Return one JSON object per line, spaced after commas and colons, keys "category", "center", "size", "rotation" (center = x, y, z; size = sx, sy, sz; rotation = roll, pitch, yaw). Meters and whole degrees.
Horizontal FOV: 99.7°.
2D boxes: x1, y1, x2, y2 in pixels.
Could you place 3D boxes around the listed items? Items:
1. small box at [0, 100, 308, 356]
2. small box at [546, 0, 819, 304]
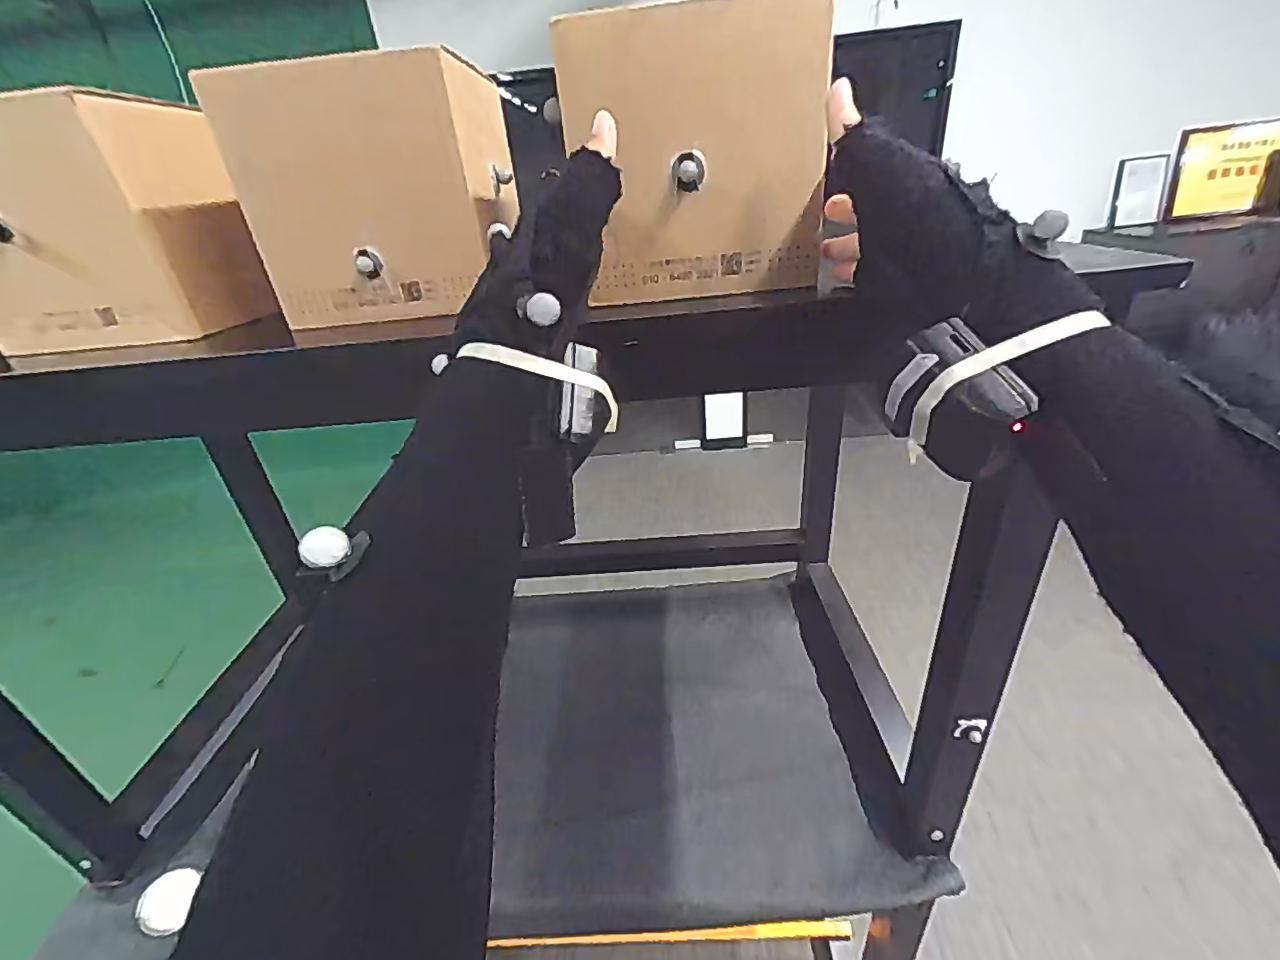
{"category": "small box", "center": [-0.436, -0.210, 0.474], "size": [0.168, 0.176, 0.179], "rotation": [-4, 28, 5]}
{"category": "small box", "center": [0.036, -0.239, 0.424], "size": [0.168, 0.176, 0.179], "rotation": [-3, 28, 5]}
